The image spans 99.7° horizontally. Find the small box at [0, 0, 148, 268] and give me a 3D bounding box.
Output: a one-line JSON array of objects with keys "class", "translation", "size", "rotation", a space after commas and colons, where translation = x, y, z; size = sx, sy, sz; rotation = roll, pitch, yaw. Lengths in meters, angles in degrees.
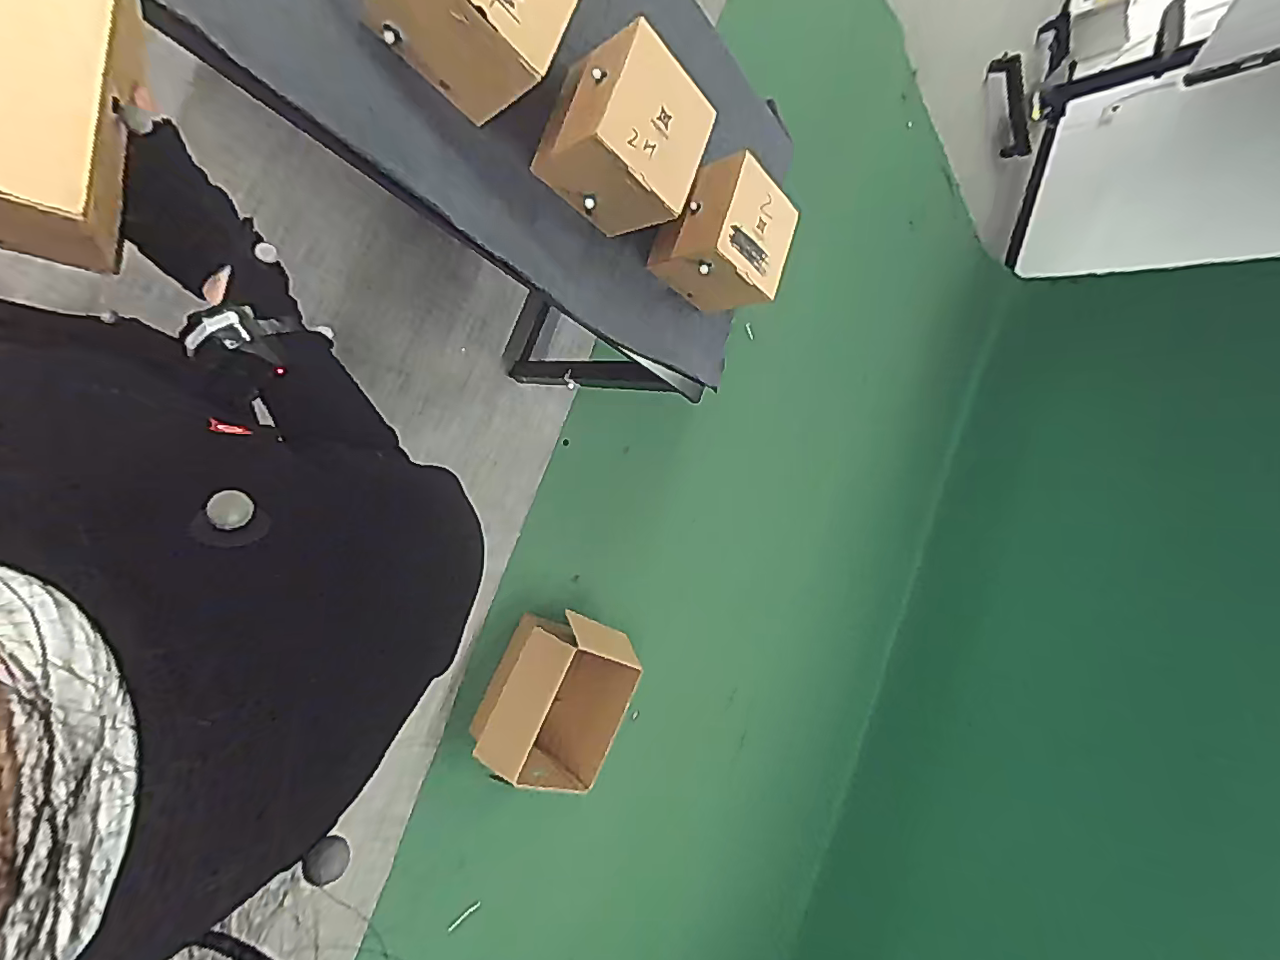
[{"class": "small box", "translation": [-0.408, -0.248, 0.314], "size": [0.168, 0.176, 0.179], "rotation": [8, 92, -41]}]

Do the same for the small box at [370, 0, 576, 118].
[{"class": "small box", "translation": [-0.190, -0.574, 0.630], "size": [0.168, 0.176, 0.179], "rotation": [27, 80, -42]}]

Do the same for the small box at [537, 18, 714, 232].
[{"class": "small box", "translation": [-0.025, -0.498, 0.791], "size": [0.168, 0.176, 0.179], "rotation": [25, 83, -41]}]
